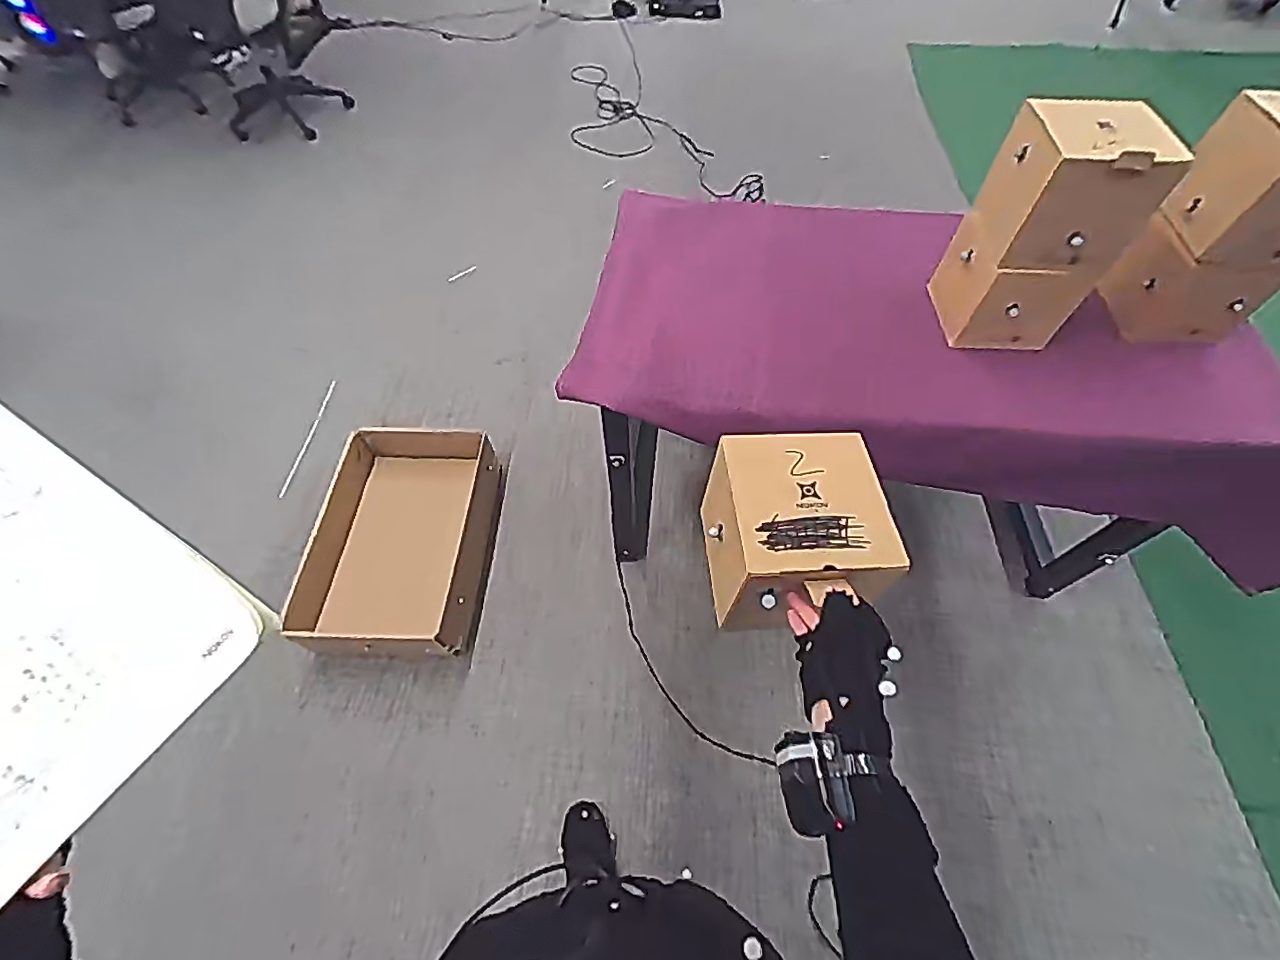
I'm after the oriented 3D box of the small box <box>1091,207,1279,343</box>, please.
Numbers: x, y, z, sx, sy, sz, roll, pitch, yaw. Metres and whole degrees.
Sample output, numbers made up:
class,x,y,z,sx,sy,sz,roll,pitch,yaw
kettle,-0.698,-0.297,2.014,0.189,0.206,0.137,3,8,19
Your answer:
class,x,y,z,sx,sy,sz,roll,pitch,yaw
small box,0.965,-0.365,0.962,0.168,0.176,0.179,5,58,3

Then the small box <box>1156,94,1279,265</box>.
class,x,y,z,sx,sy,sz,roll,pitch,yaw
small box,0.957,-0.452,0.823,0.168,0.176,0.179,5,59,3

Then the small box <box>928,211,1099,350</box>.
class,x,y,z,sx,sy,sz,roll,pitch,yaw
small box,0.644,-0.349,0.959,0.168,0.176,0.179,2,57,2

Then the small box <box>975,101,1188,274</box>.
class,x,y,z,sx,sy,sz,roll,pitch,yaw
small box,0.645,-0.443,0.823,0.168,0.176,0.179,4,58,4
